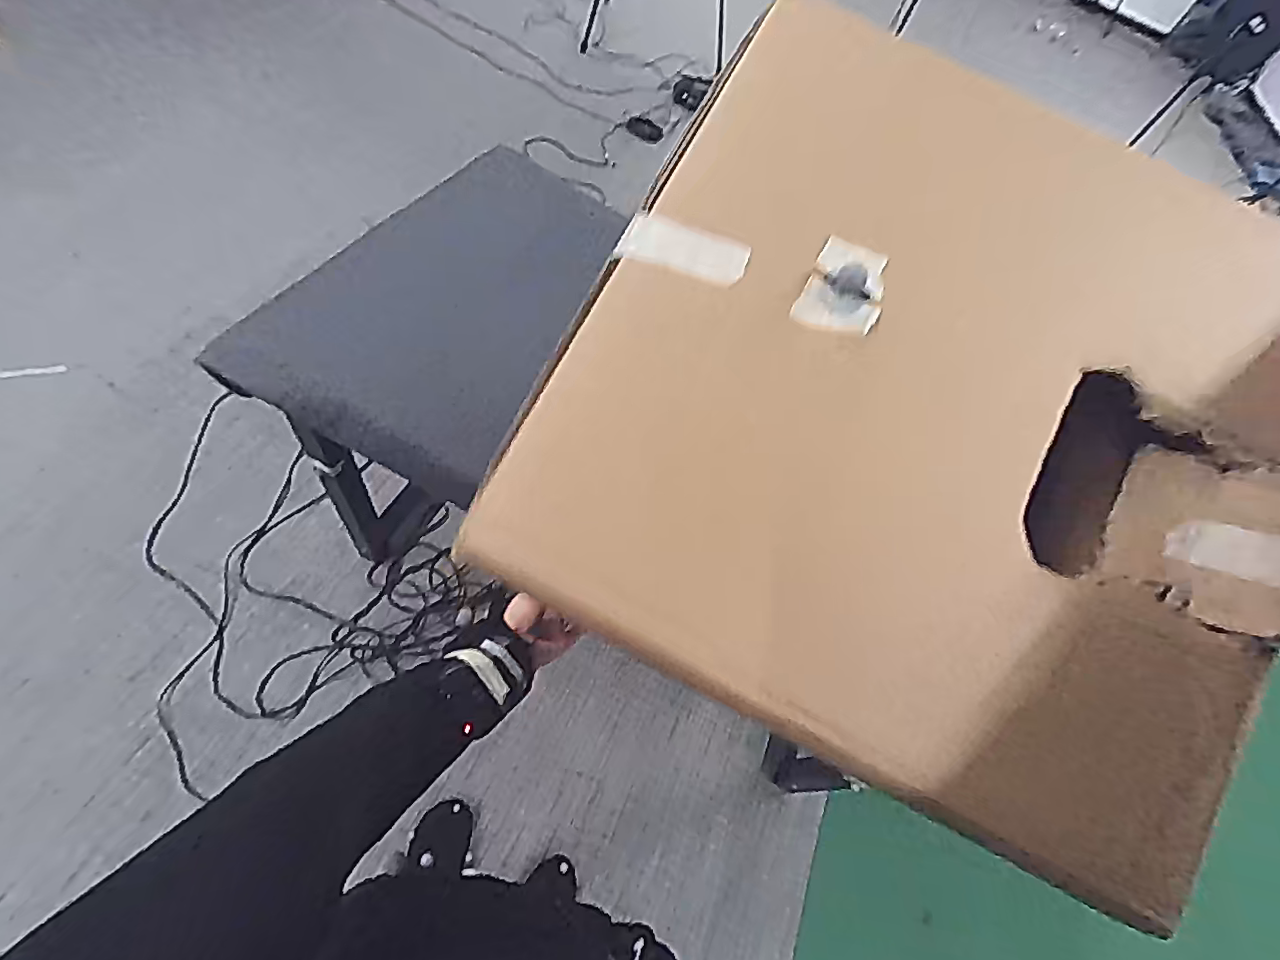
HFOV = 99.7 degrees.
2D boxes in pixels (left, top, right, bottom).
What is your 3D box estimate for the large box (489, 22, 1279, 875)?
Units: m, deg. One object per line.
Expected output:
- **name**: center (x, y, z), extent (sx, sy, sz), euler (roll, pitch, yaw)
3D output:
- **large box**: center (0.120, -0.009, 0.437), extent (0.320, 0.408, 0.320), euler (27, 81, 0)
